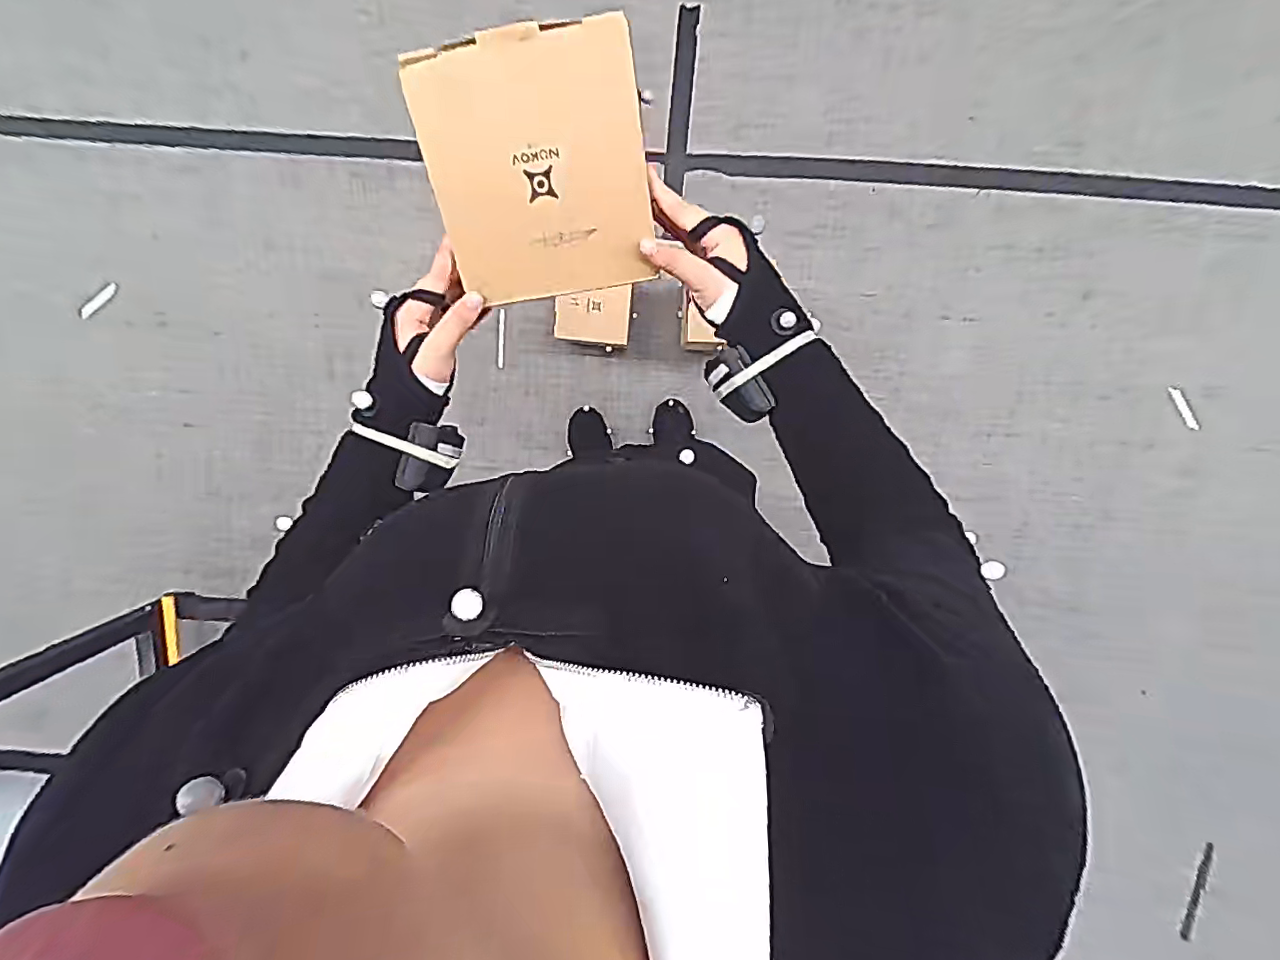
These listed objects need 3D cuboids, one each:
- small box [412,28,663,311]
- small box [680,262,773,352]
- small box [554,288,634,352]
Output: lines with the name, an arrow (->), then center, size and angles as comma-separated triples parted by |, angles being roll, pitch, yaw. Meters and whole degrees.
small box -> -0.075, -0.271, 0.493 | 0.168, 0.176, 0.179 | -8, 121, 4
small box -> 0.179, -0.370, 1.182 | 0.179, 0.176, 0.168 | 2, 100, 0
small box -> -0.109, -0.411, 1.346 | 0.179, 0.176, 0.168 | 6, 100, 0
